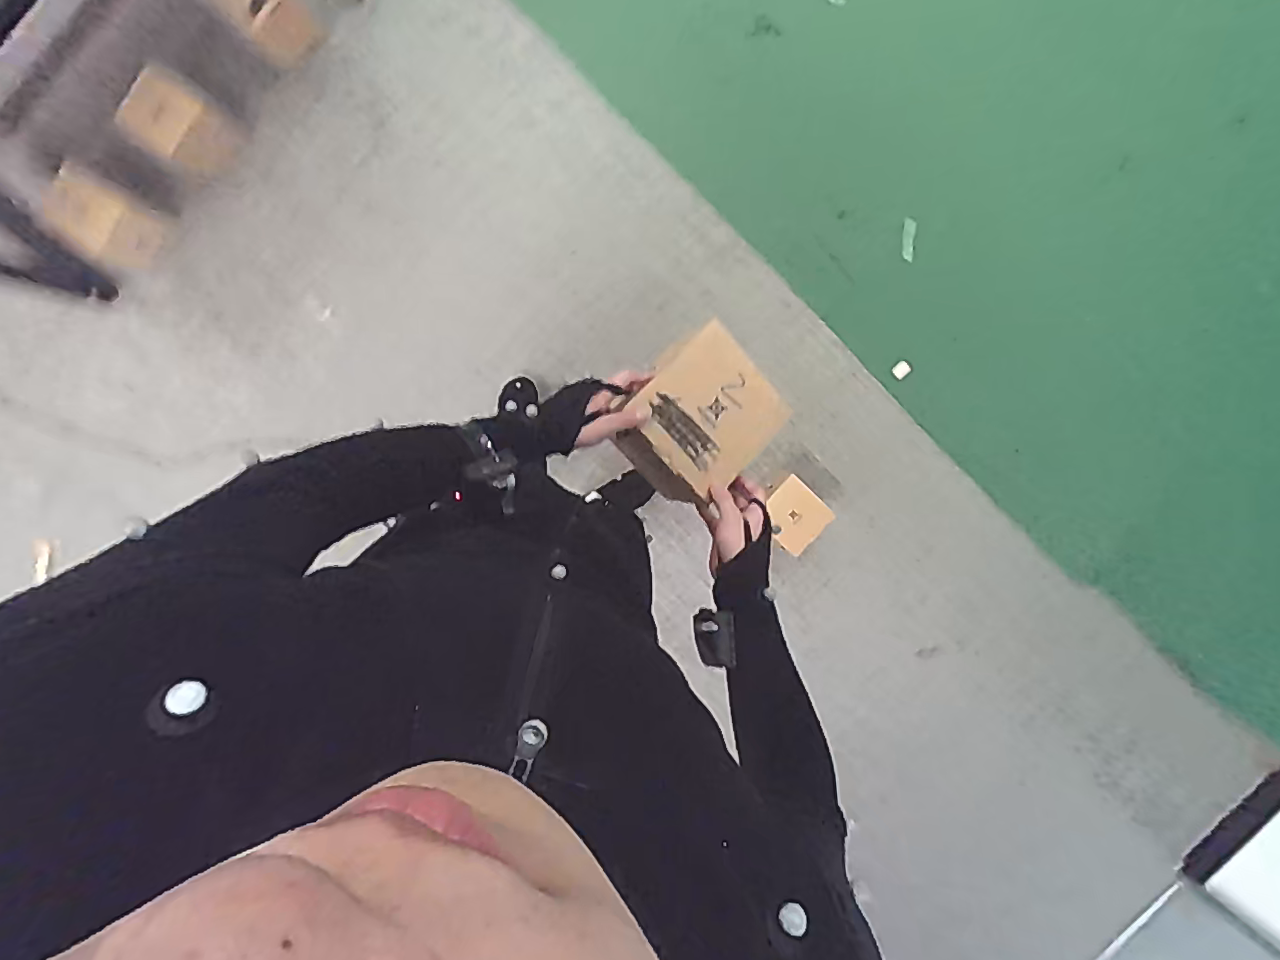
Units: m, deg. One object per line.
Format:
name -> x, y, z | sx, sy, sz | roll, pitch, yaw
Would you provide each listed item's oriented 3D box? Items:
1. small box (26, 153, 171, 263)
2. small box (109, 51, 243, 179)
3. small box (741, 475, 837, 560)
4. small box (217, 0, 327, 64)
small box -> -1.394, -0.694, 1.408 | 0.179, 0.176, 0.168 | 35, 93, -5
small box -> -1.181, -0.930, 1.396 | 0.168, 0.176, 0.179 | 37, 94, -4
small box -> 0.416, 0.098, 1.547 | 0.179, 0.176, 0.168 | 43, 92, -6
small box -> -0.950, -1.216, 1.376 | 0.179, 0.176, 0.168 | 40, 92, -4
